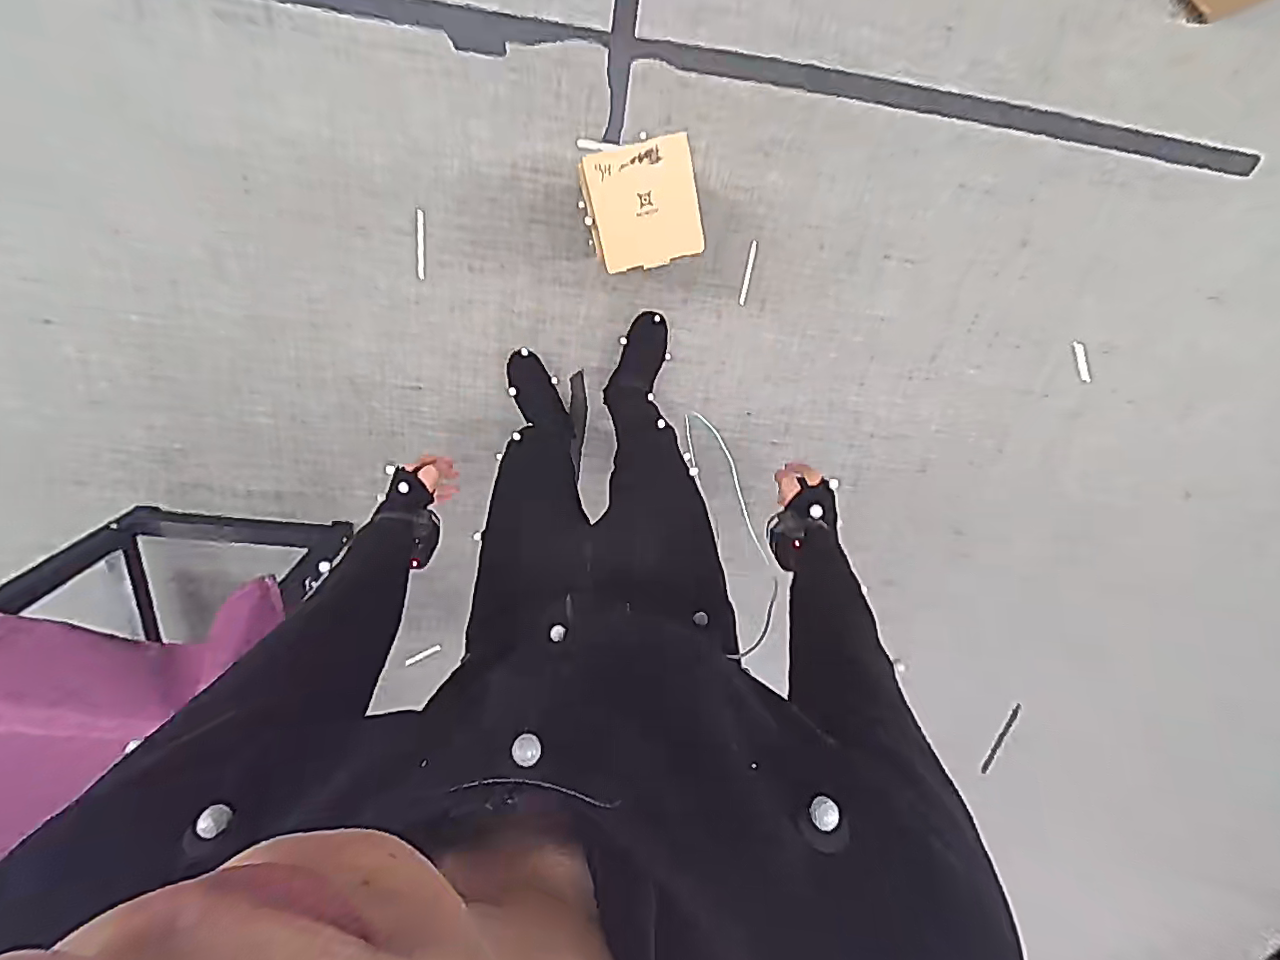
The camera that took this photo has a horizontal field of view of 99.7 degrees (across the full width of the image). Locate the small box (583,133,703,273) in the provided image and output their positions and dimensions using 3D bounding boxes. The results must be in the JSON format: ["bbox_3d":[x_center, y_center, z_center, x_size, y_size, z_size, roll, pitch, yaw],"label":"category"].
[{"bbox_3d":[0.004,-0.469,0.928,0.168,0.176,0.179,-13,116,1],"label":"small box"}]
